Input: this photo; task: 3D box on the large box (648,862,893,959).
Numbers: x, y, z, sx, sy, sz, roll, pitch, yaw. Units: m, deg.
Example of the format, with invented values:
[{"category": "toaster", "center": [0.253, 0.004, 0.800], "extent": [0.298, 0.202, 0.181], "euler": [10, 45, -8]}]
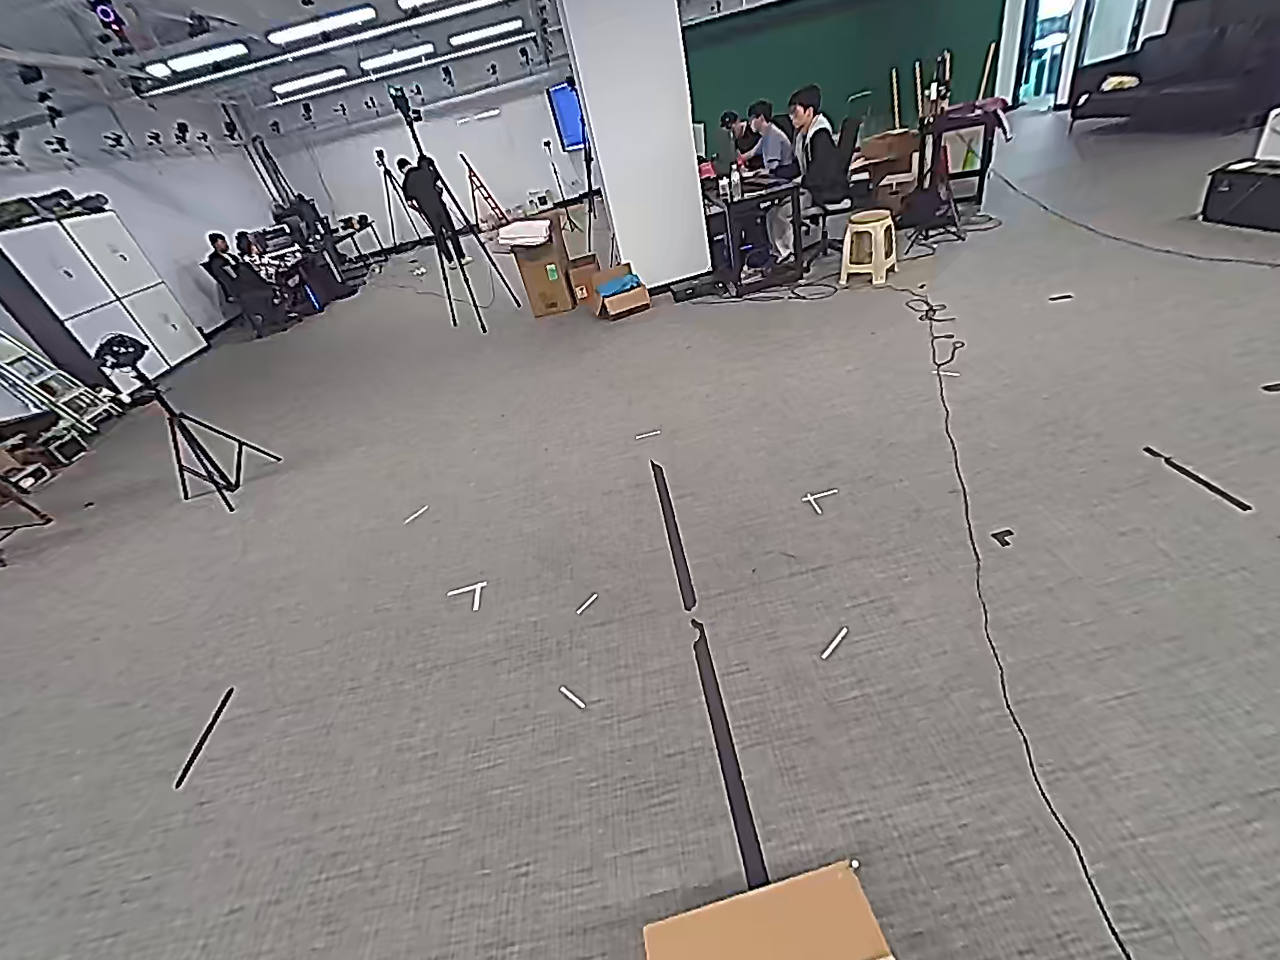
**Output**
[{"category": "large box", "center": [0.263, 0.975, 0.963], "extent": [0.408, 0.320, 0.320], "euler": [-17, 33, -2]}]
